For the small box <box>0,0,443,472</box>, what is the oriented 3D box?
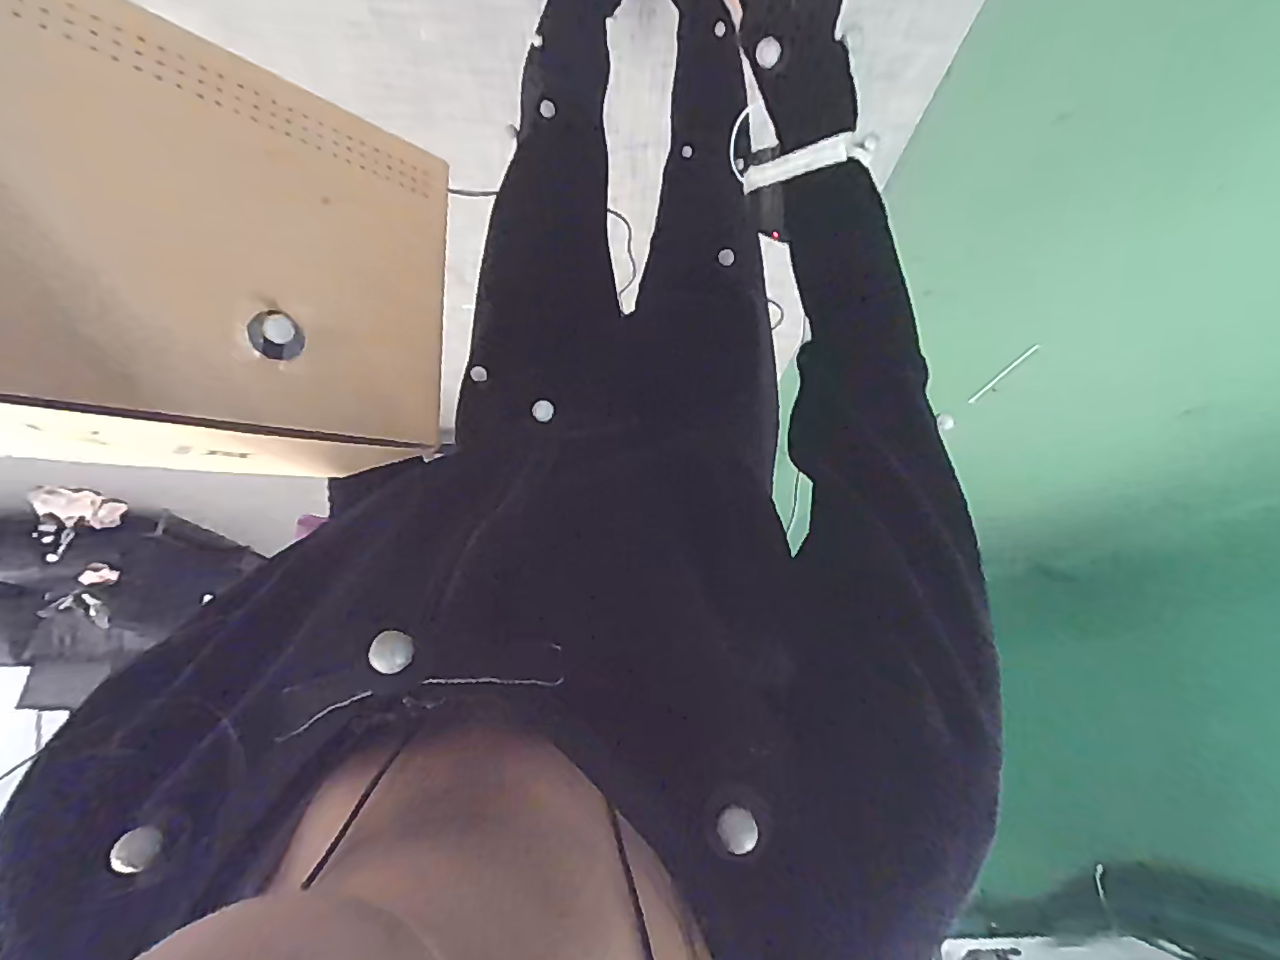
[{"bbox_3d":[-0.220,-0.101,0.284,0.168,0.176,0.179,-8,170,43],"label":"small box"}]
